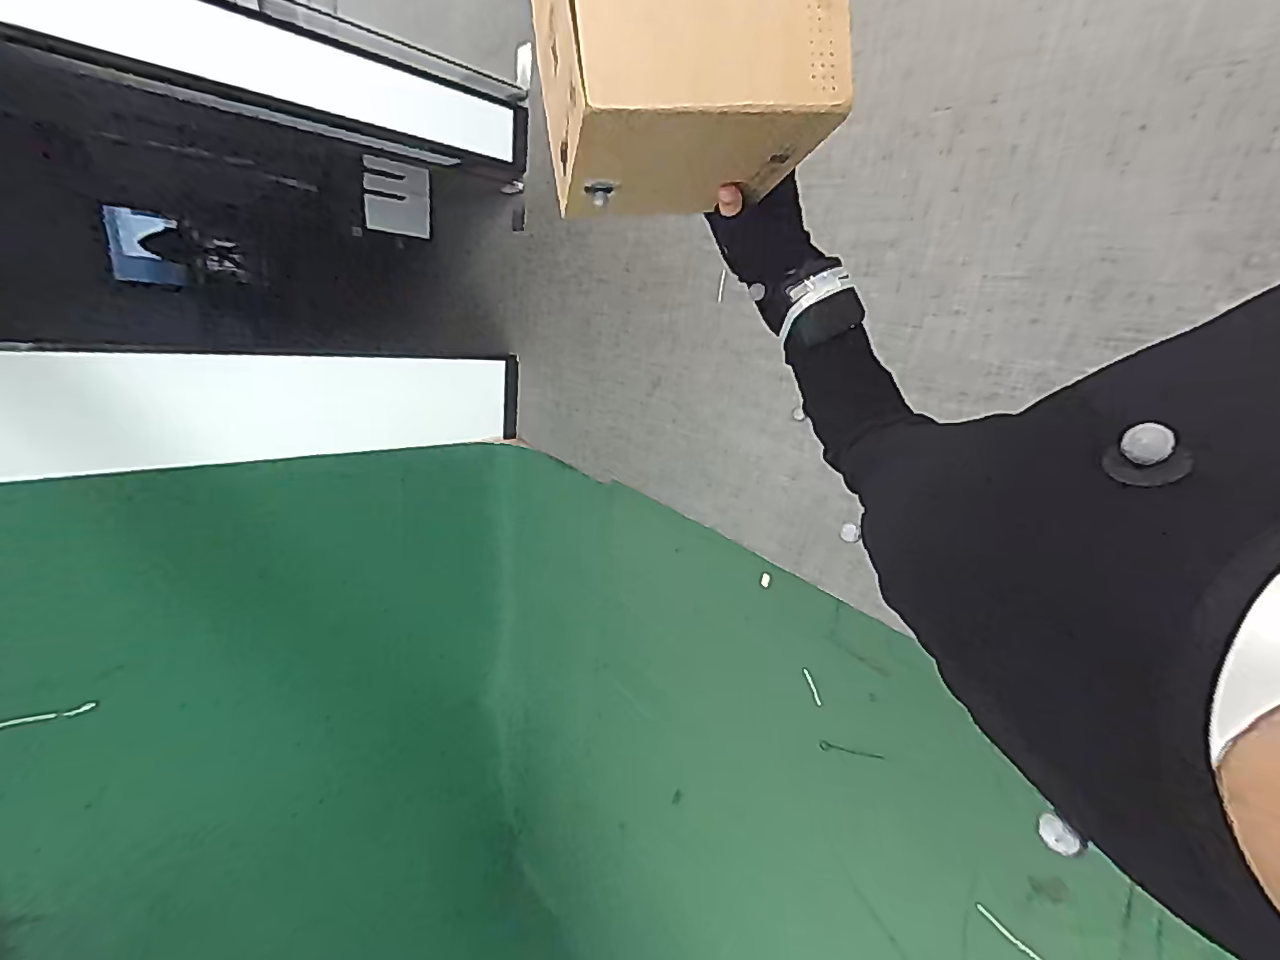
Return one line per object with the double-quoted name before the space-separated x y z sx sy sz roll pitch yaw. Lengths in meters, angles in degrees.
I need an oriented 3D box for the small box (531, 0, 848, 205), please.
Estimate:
"small box" 0.021 -0.309 0.370 0.168 0.176 0.179 -151 53 -76
